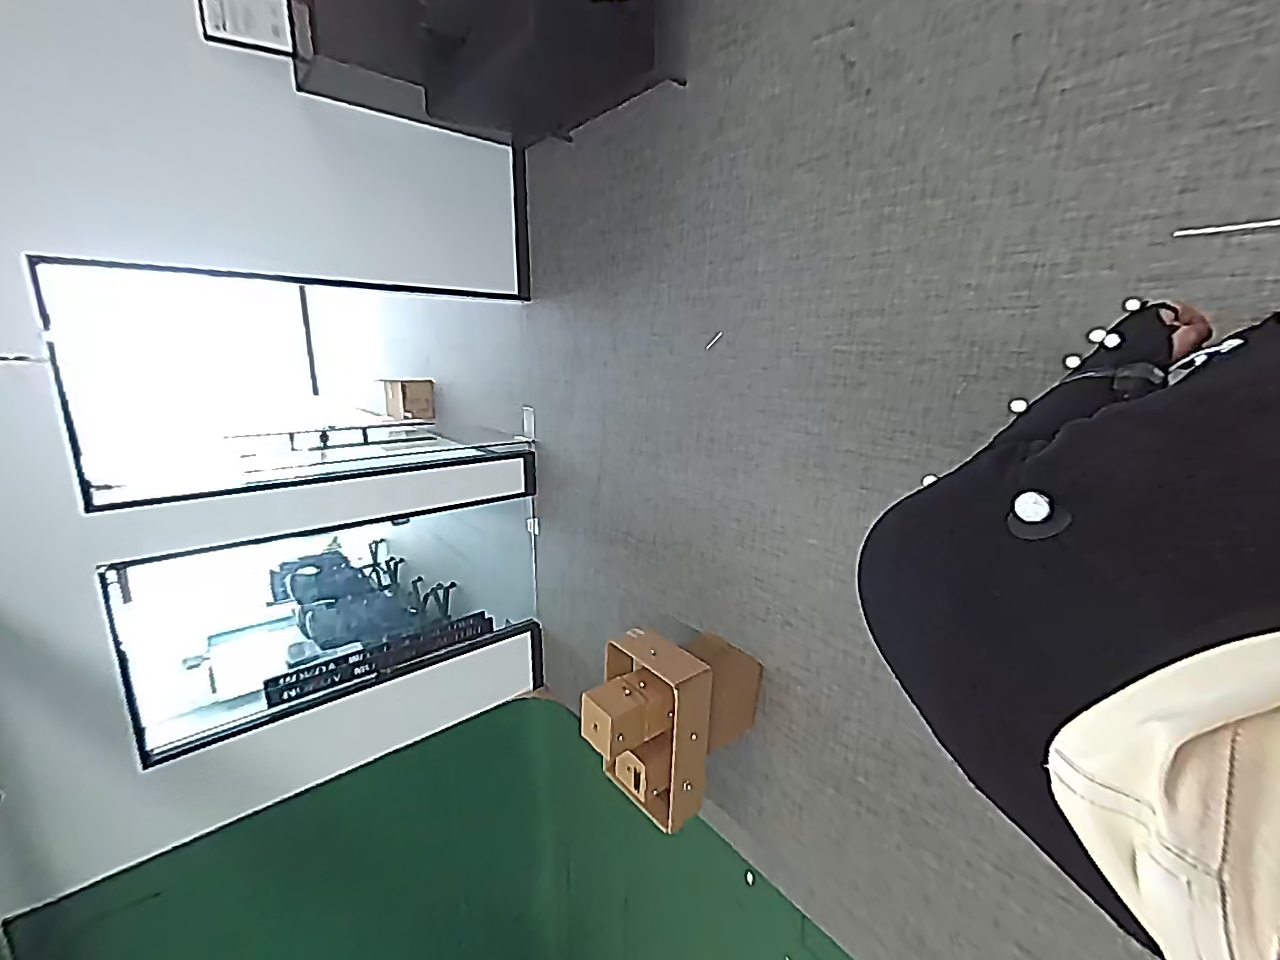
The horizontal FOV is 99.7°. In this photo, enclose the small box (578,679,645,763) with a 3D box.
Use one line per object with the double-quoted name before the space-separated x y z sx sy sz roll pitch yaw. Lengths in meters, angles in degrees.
"small box" -0.099 0.837 1.894 0.168 0.176 0.179 19 111 45
